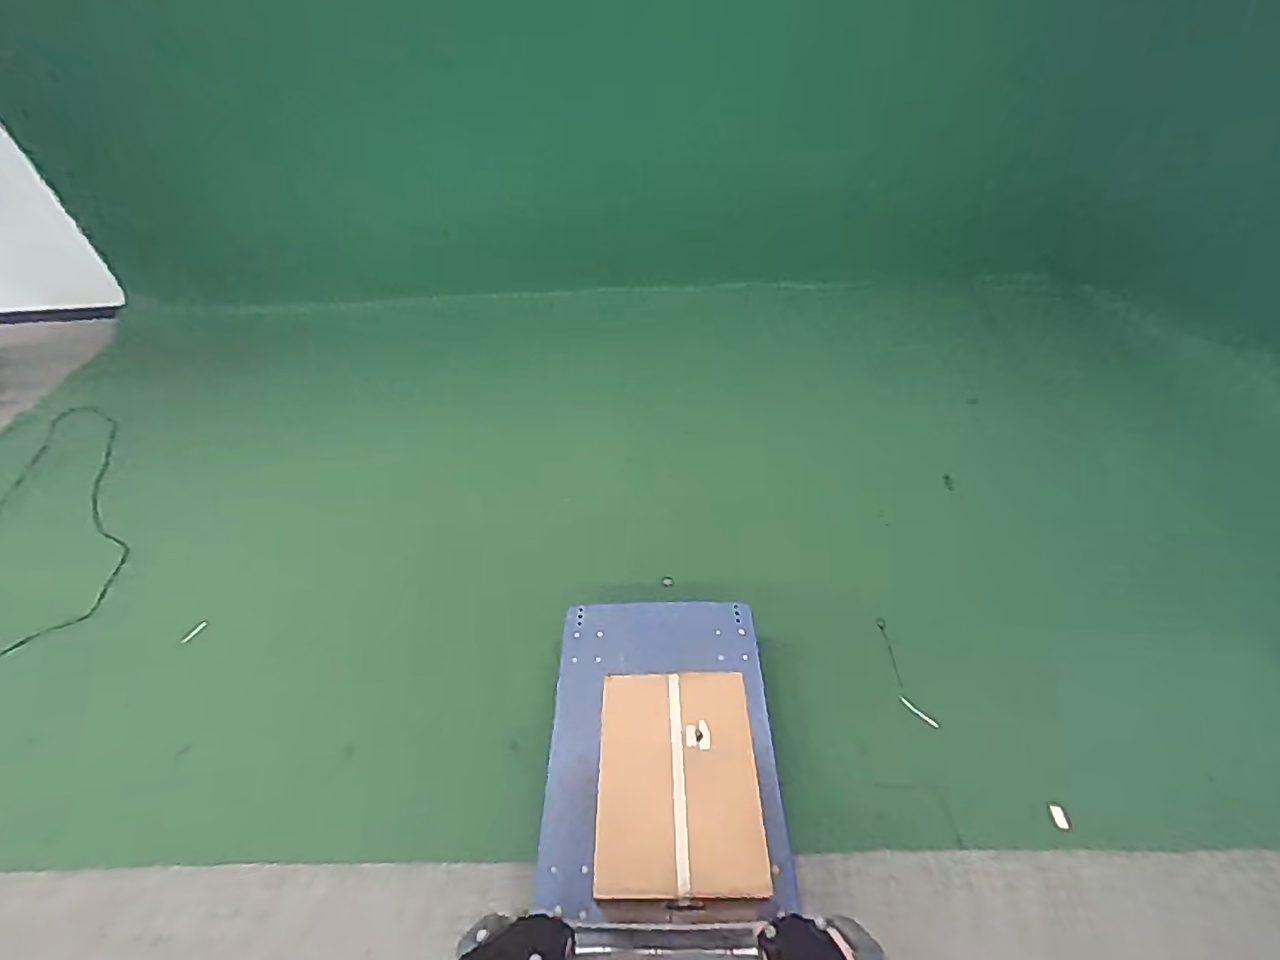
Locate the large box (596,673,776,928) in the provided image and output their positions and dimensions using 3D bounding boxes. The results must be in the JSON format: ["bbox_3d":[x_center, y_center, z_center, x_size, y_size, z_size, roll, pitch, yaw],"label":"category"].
[{"bbox_3d":[0.084,0.679,1.159,0.320,0.320,0.408,-1,44,1],"label":"large box"}]
